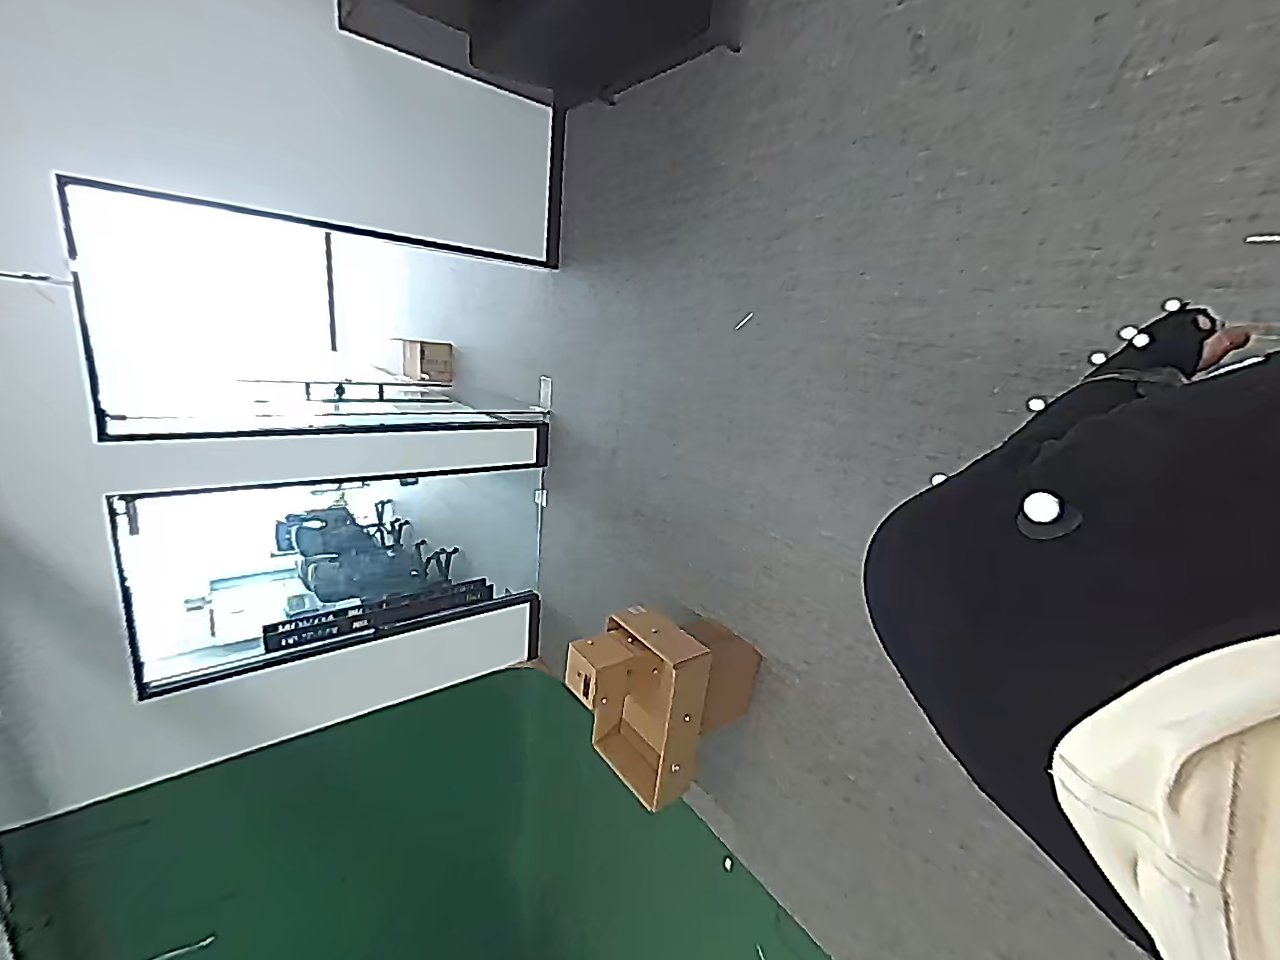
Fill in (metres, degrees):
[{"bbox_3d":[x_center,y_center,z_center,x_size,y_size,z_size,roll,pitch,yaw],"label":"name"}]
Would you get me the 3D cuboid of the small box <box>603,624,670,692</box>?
[{"bbox_3d":[-0.014,0.662,2.036,0.179,0.176,0.168,25,113,46],"label":"small box"}]
